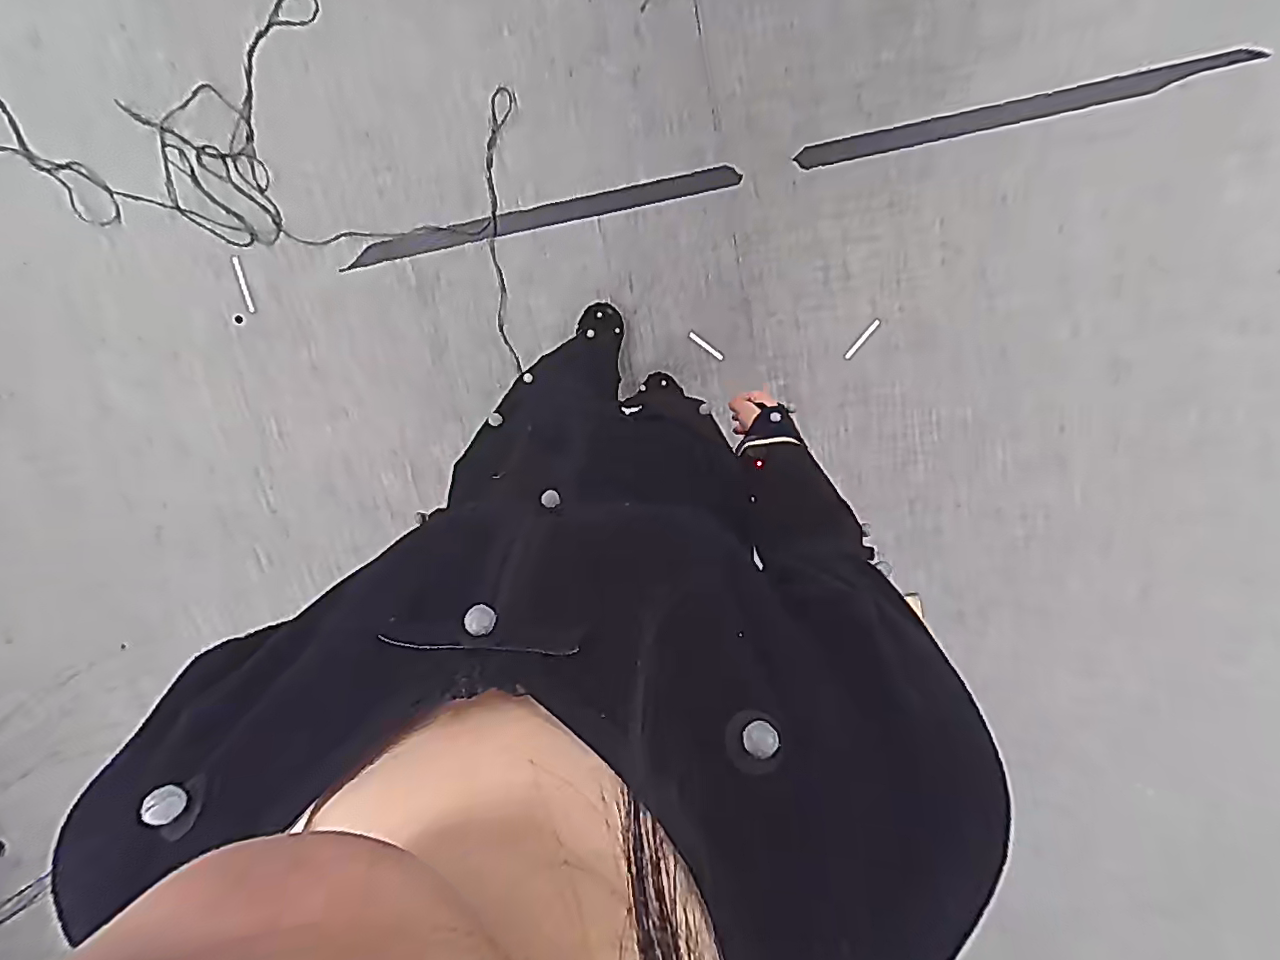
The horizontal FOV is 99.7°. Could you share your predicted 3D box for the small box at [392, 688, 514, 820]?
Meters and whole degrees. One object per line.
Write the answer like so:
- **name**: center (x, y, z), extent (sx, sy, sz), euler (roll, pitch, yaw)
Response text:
- **small box**: center (-0.417, 0.616, 1.237), extent (0.179, 0.176, 0.168), euler (37, 100, -4)
